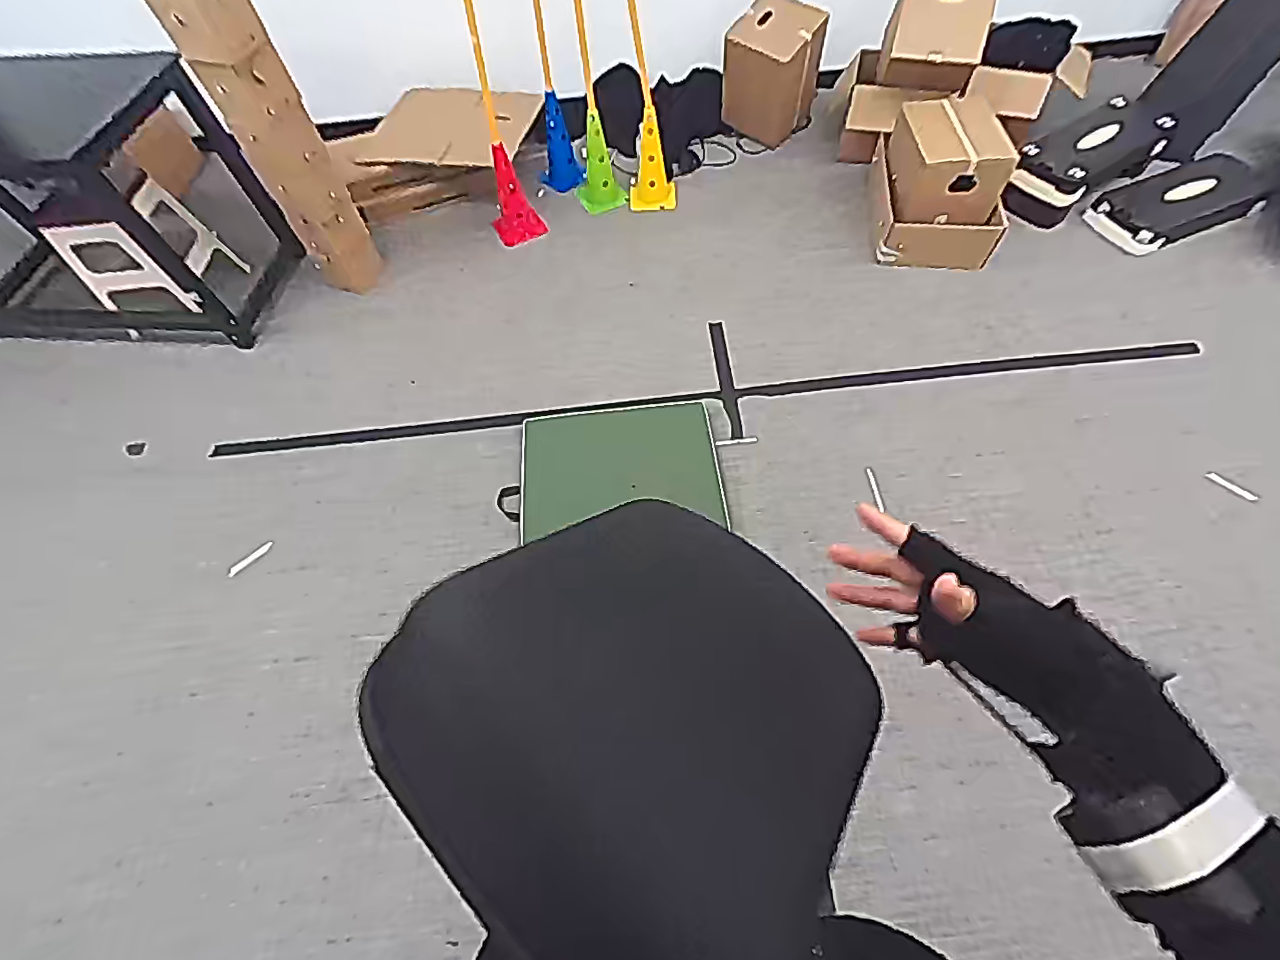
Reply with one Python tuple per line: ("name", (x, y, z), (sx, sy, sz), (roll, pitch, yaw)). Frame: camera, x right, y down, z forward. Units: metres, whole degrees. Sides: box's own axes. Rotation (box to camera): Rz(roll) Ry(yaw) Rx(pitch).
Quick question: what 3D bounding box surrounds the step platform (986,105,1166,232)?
("step platform", (1.787, -1.287, 2.218), (0.684, 0.204, 0.286), (-32, 63, -13))
